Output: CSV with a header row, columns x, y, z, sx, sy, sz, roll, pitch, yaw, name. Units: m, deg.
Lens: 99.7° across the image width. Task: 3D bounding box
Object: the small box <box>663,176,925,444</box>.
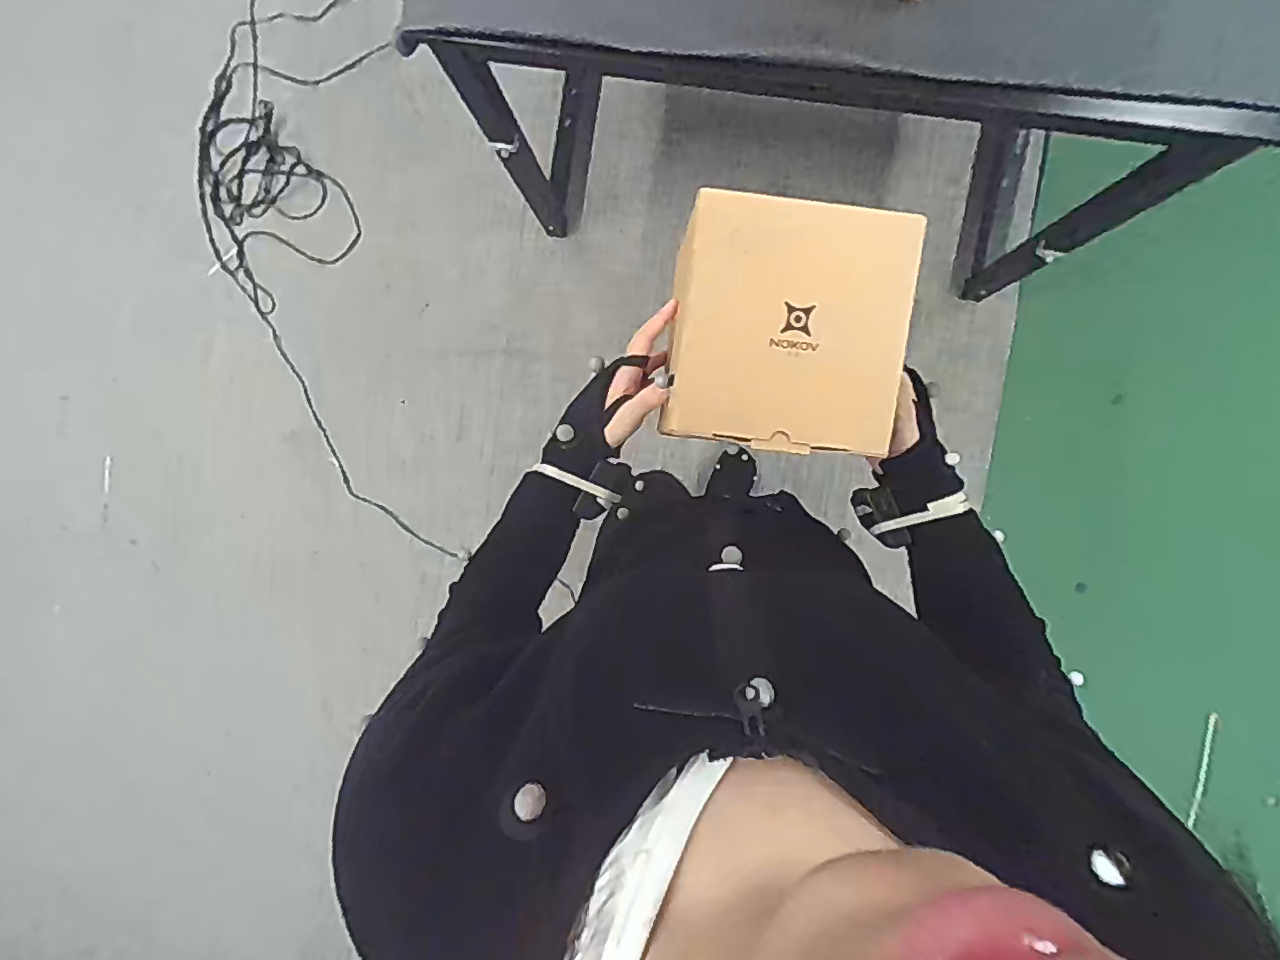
x,y,z,sx,sy,sz,roll,pitch,yaw,name
0.112,-0.126,0.466,0.168,0.176,0.179,5,96,-1,small box
